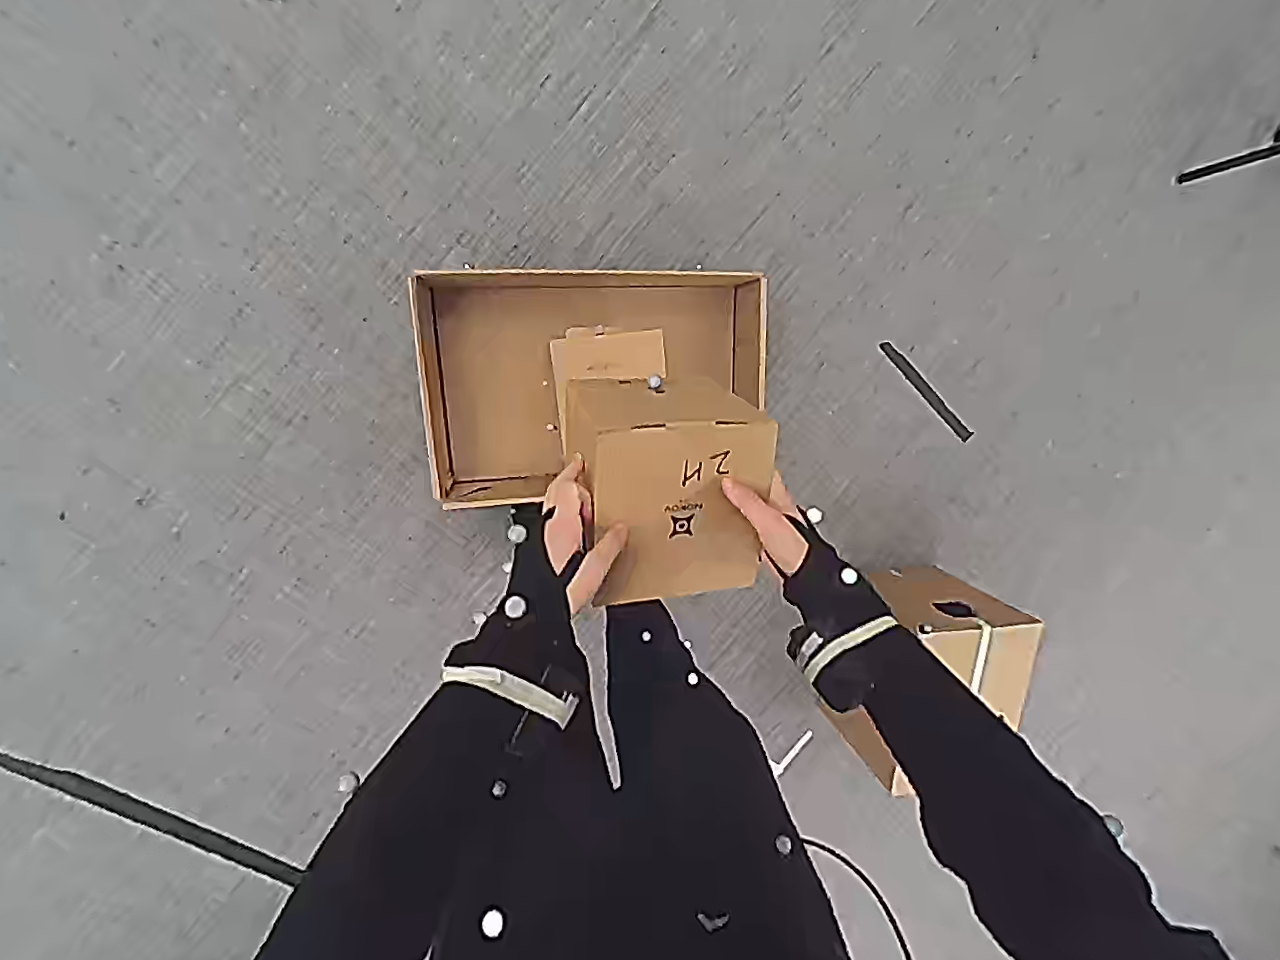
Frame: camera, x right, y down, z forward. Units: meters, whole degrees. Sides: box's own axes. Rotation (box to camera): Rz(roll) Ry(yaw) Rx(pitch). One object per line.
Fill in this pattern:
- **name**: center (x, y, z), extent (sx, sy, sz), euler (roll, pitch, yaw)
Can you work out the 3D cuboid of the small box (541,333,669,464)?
- **small box**: center (-0.061, -0.136, 0.858), extent (0.168, 0.176, 0.179), euler (-9, 105, -12)
